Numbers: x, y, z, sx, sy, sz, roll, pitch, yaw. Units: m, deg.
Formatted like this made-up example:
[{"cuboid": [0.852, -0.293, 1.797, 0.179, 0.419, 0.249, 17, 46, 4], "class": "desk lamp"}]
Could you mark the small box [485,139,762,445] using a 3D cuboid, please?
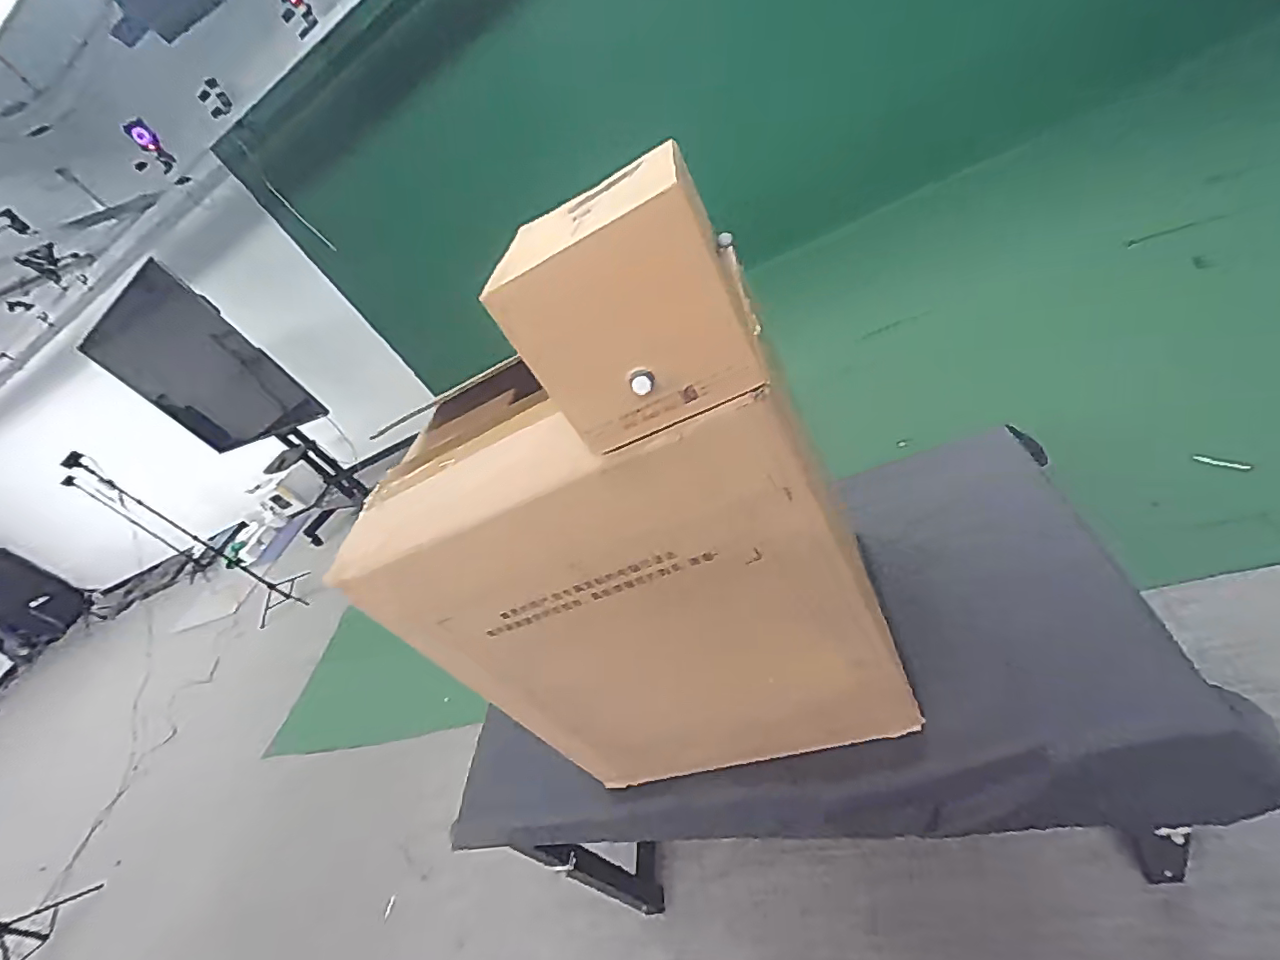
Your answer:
[{"cuboid": [-0.003, -0.162, 0.481, 0.168, 0.176, 0.179, -20, 38, 19], "class": "small box"}]
